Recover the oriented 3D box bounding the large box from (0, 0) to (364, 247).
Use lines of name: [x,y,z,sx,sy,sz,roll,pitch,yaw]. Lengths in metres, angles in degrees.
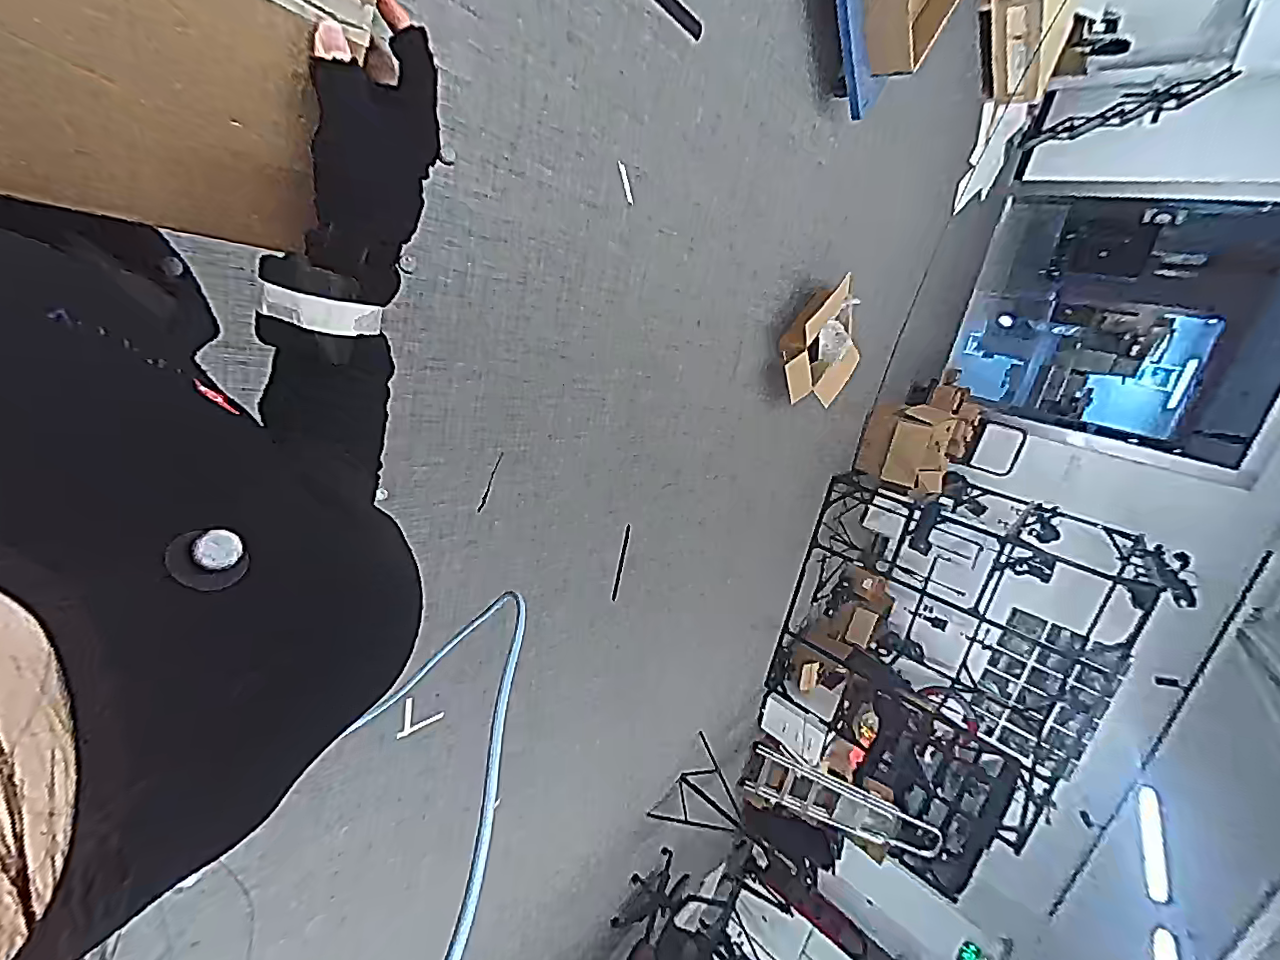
large box: [-0.372,-0.362,0.224,0.408,0.320,0.320,-7,148,-47]
